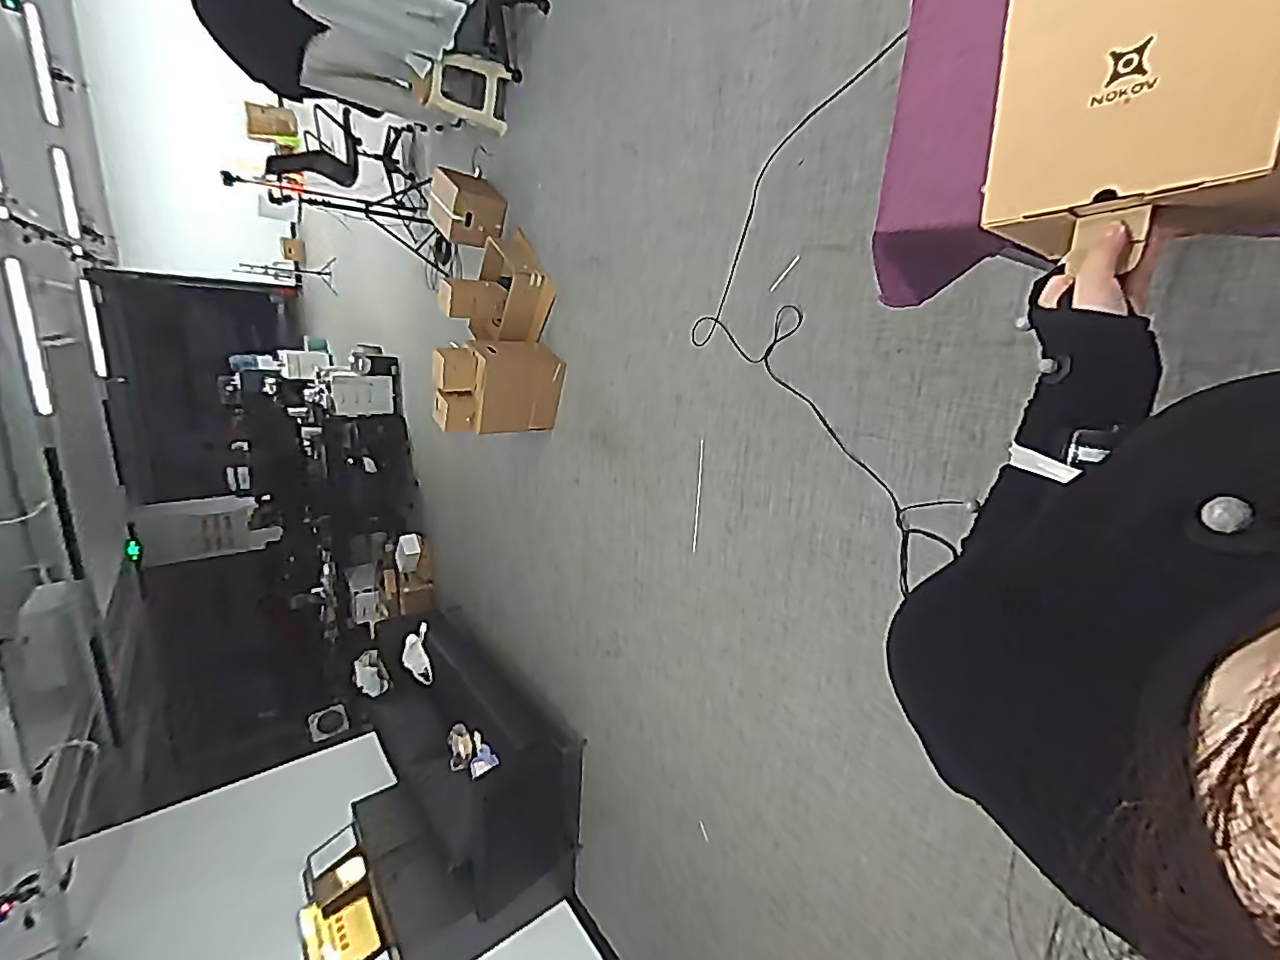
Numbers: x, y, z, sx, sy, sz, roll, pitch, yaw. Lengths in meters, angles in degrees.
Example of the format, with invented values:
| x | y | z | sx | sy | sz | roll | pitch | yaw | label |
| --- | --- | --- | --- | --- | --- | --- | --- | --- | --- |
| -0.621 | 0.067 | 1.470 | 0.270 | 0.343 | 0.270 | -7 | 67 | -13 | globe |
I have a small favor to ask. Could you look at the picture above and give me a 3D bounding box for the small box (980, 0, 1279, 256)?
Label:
| x | y | z | sx | sy | sz | roll | pitch | yaw | label |
| --- | --- | --- | --- | --- | --- | --- | --- | --- | --- |
| 0.414 | -0.300 | 0.444 | 0.168 | 0.176 | 0.179 | 15 | 107 | 51 | small box |
